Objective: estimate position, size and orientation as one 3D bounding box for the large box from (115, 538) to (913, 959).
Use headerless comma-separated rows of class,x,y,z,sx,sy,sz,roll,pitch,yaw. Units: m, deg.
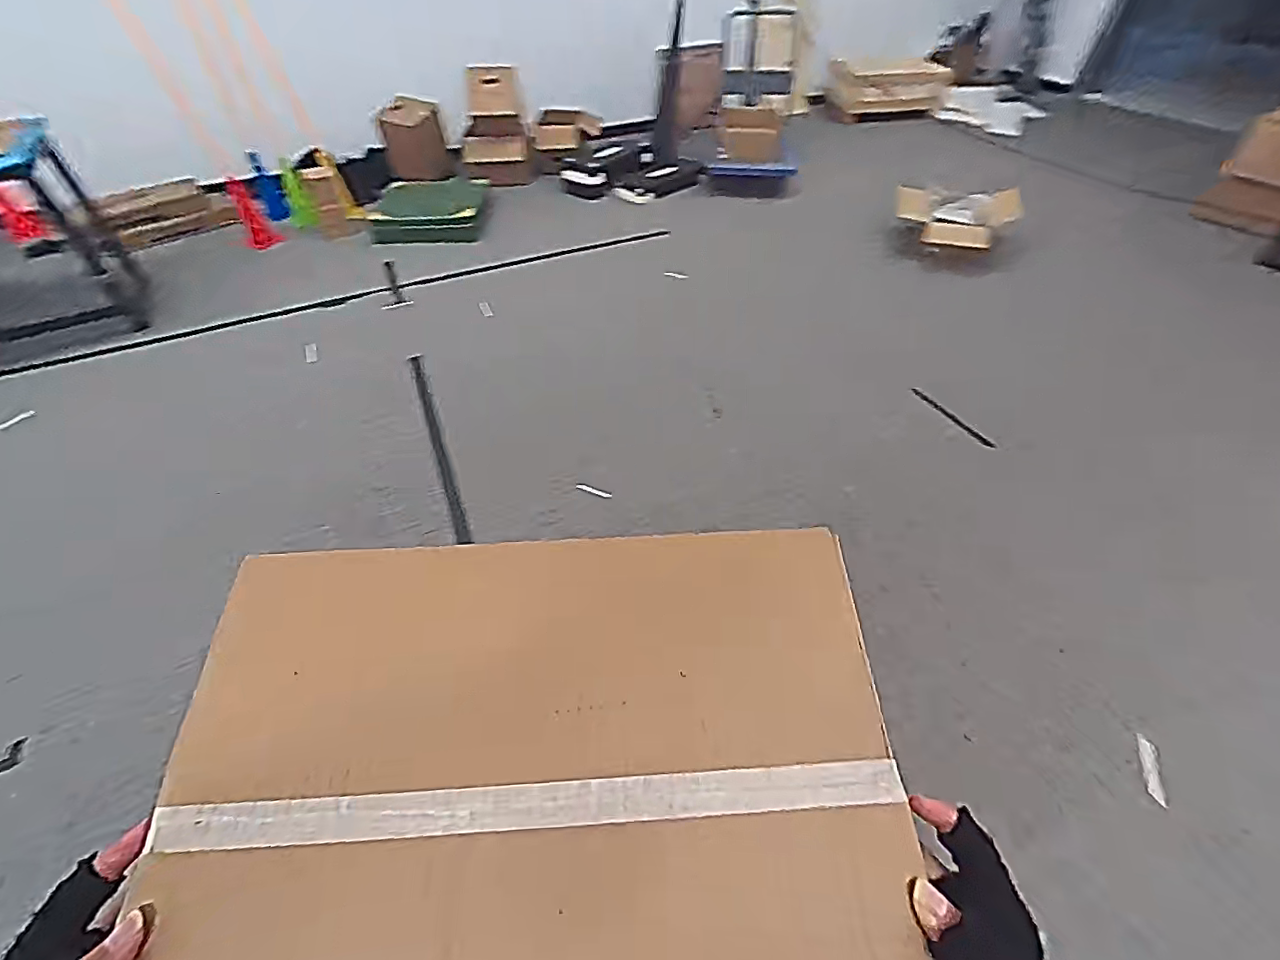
large box,-0.065,0.261,0.432,0.408,0.320,0.320,-4,59,-2
